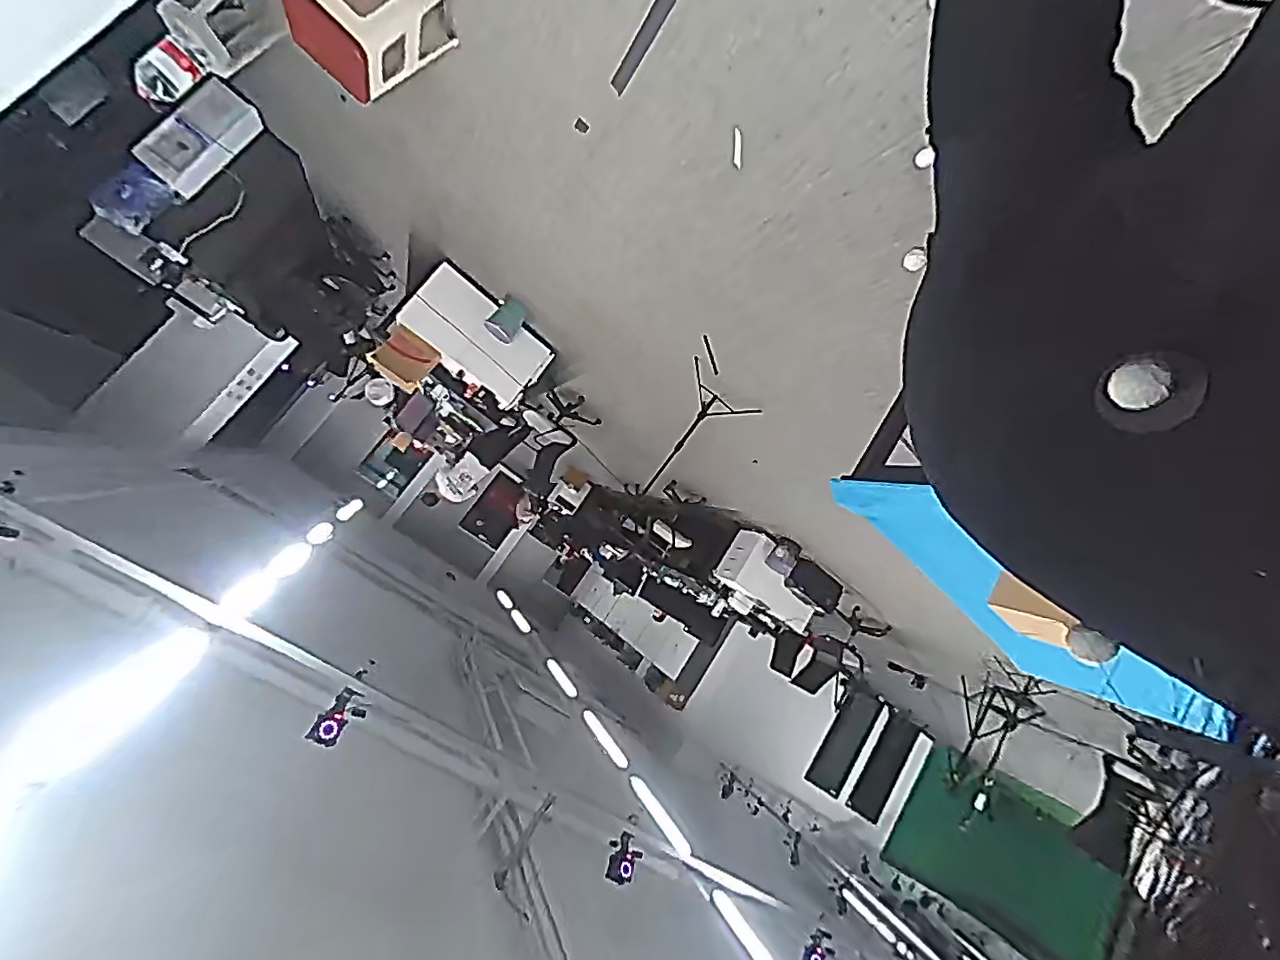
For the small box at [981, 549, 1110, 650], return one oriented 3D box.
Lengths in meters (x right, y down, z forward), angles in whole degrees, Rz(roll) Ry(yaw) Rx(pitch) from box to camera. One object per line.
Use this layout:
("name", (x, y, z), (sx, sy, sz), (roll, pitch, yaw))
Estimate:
("small box", (1.000, 0.296, 1.341), (0.168, 0.176, 0.179), (39, 167, -19))
